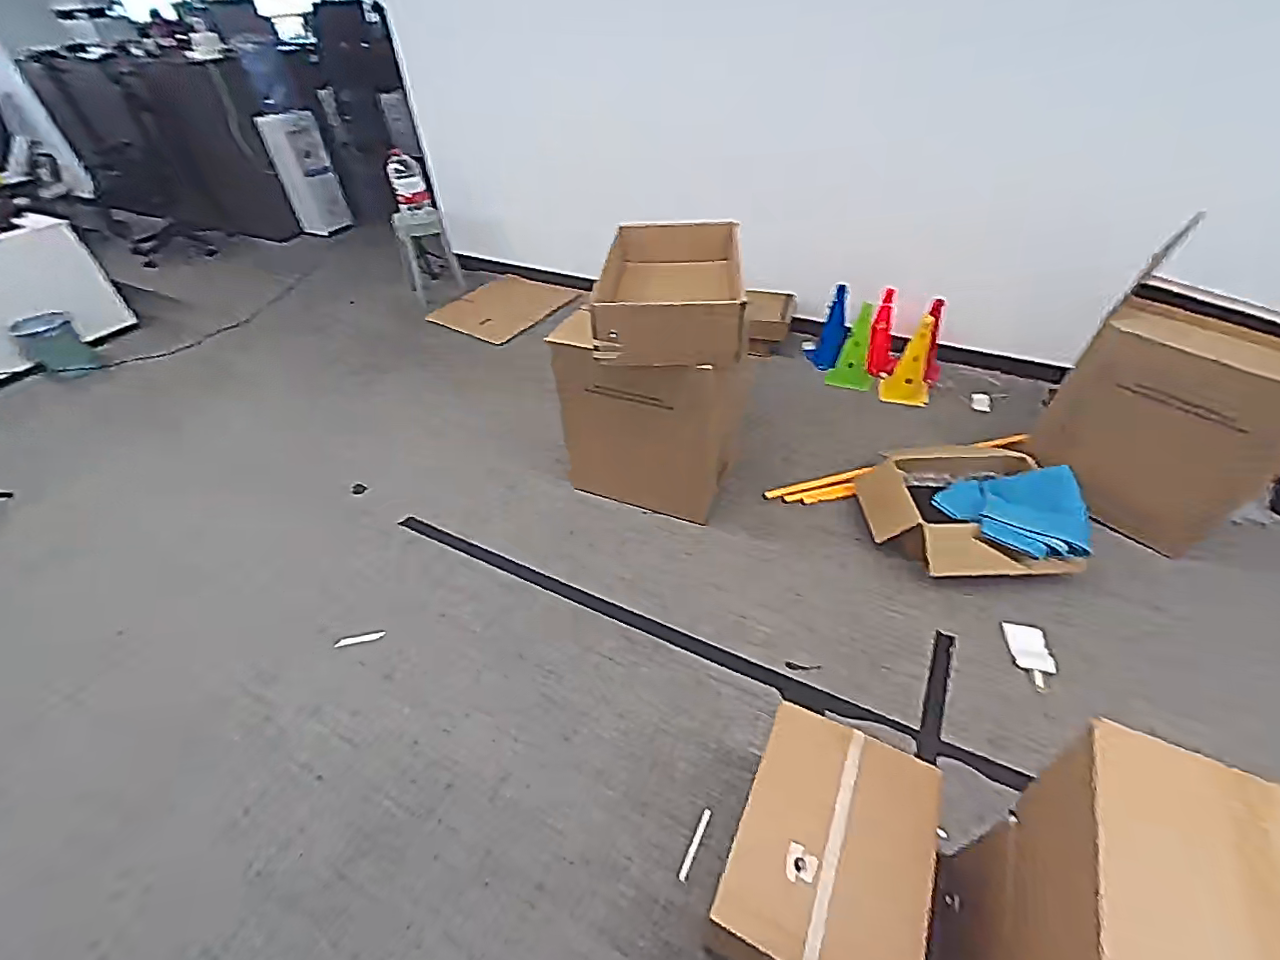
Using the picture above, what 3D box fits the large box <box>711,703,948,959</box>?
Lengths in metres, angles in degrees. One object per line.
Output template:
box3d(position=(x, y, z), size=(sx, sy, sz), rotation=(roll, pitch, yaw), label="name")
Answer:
box3d(position=(0.354, 0.727, 1.032), size=(0.320, 0.320, 0.408), rotation=(17, 47, 21), label="large box")
